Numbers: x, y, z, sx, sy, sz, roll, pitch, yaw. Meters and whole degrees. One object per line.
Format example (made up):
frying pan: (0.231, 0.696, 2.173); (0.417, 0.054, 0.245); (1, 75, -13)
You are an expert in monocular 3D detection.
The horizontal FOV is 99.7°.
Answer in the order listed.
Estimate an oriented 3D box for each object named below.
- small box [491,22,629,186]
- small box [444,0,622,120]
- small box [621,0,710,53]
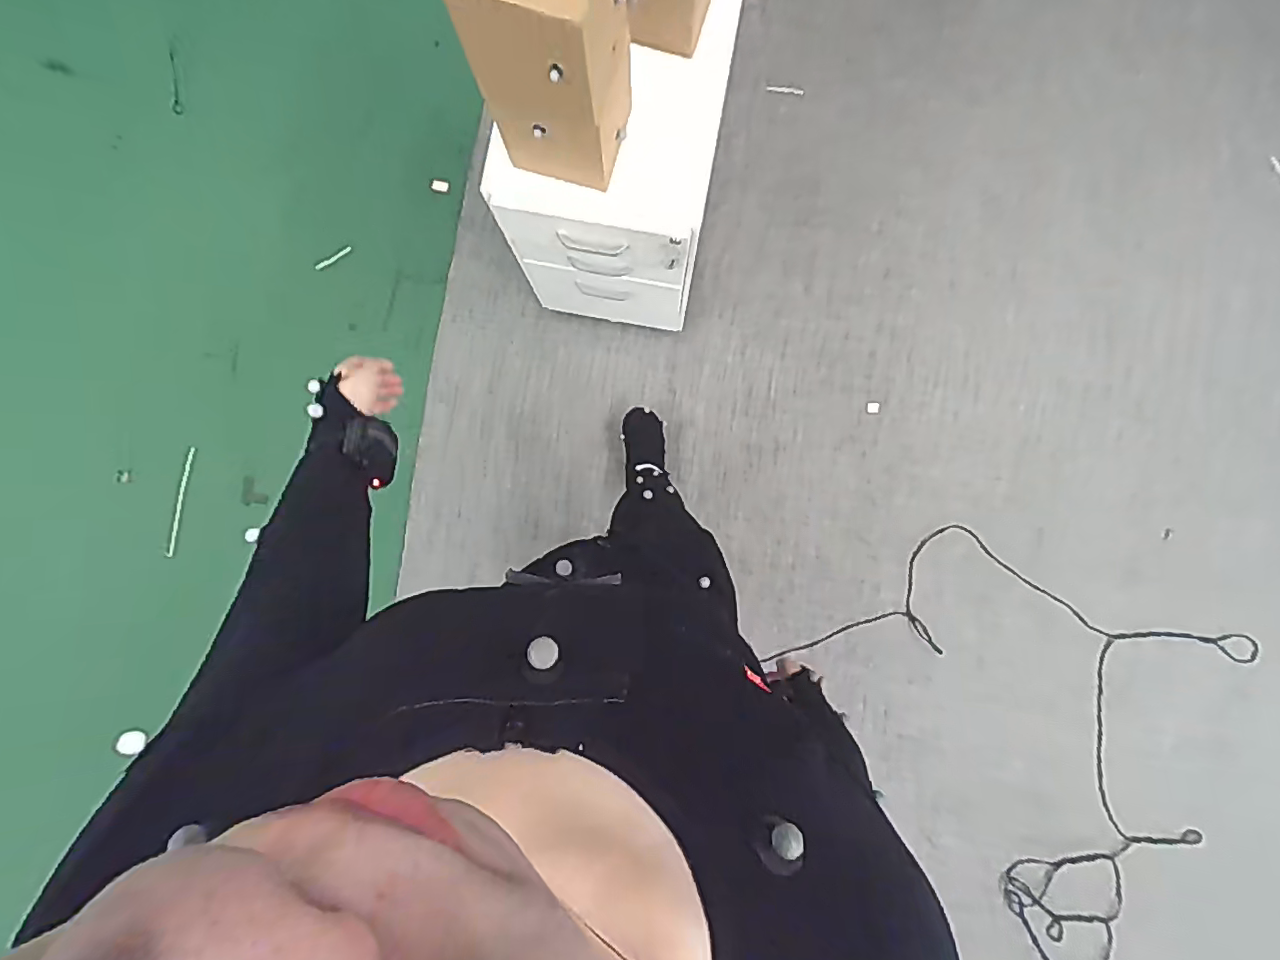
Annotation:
small box: (-0.122, -0.610, 0.870); (0.179, 0.176, 0.168); (16, 87, 1)
small box: (-0.127, -0.617, 0.708); (0.179, 0.176, 0.168); (16, 86, 2)
small box: (0.029, -0.850, 0.881); (0.179, 0.176, 0.168); (18, 88, 2)
